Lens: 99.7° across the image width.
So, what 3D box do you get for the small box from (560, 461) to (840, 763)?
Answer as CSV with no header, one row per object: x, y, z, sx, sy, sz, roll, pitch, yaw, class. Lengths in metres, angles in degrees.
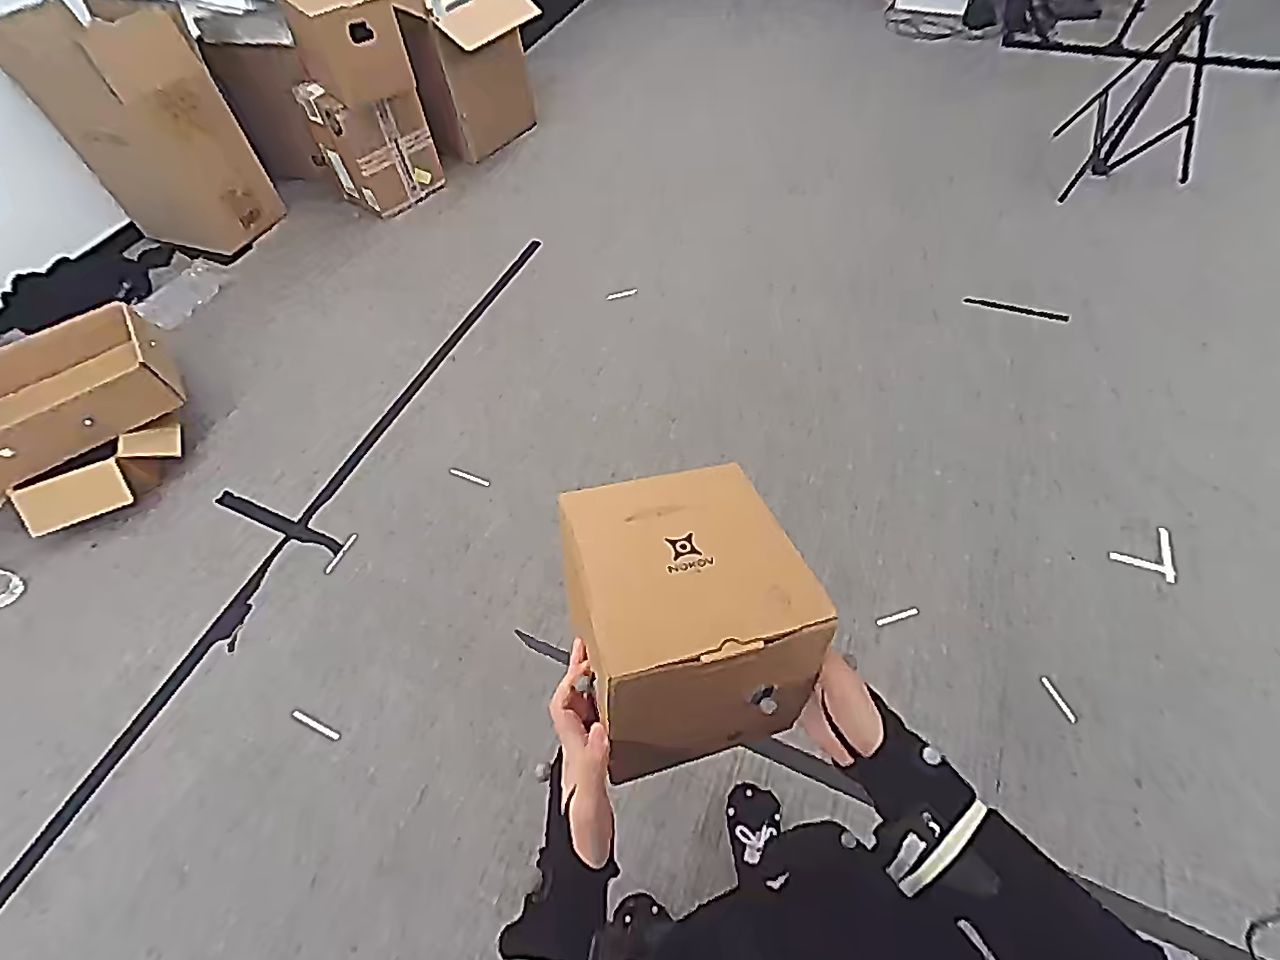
0.034,0.112,0.457,0.168,0.176,0.179,-10,42,-15,small box
